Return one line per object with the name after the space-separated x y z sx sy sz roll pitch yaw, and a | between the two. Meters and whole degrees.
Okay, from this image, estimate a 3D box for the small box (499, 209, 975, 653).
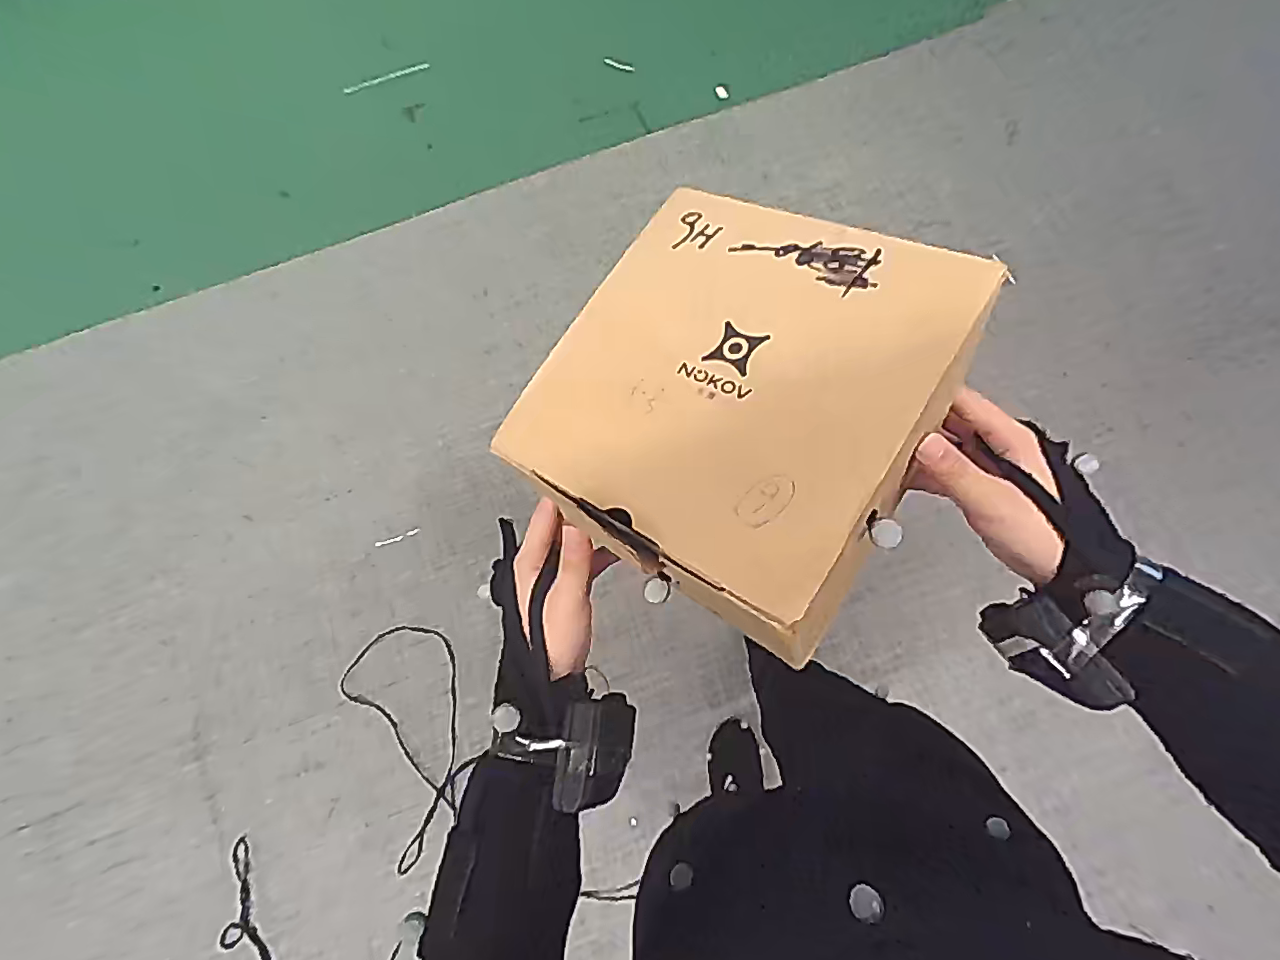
0.060 -0.017 0.323 0.168 0.176 0.179 29 79 26 | small box
